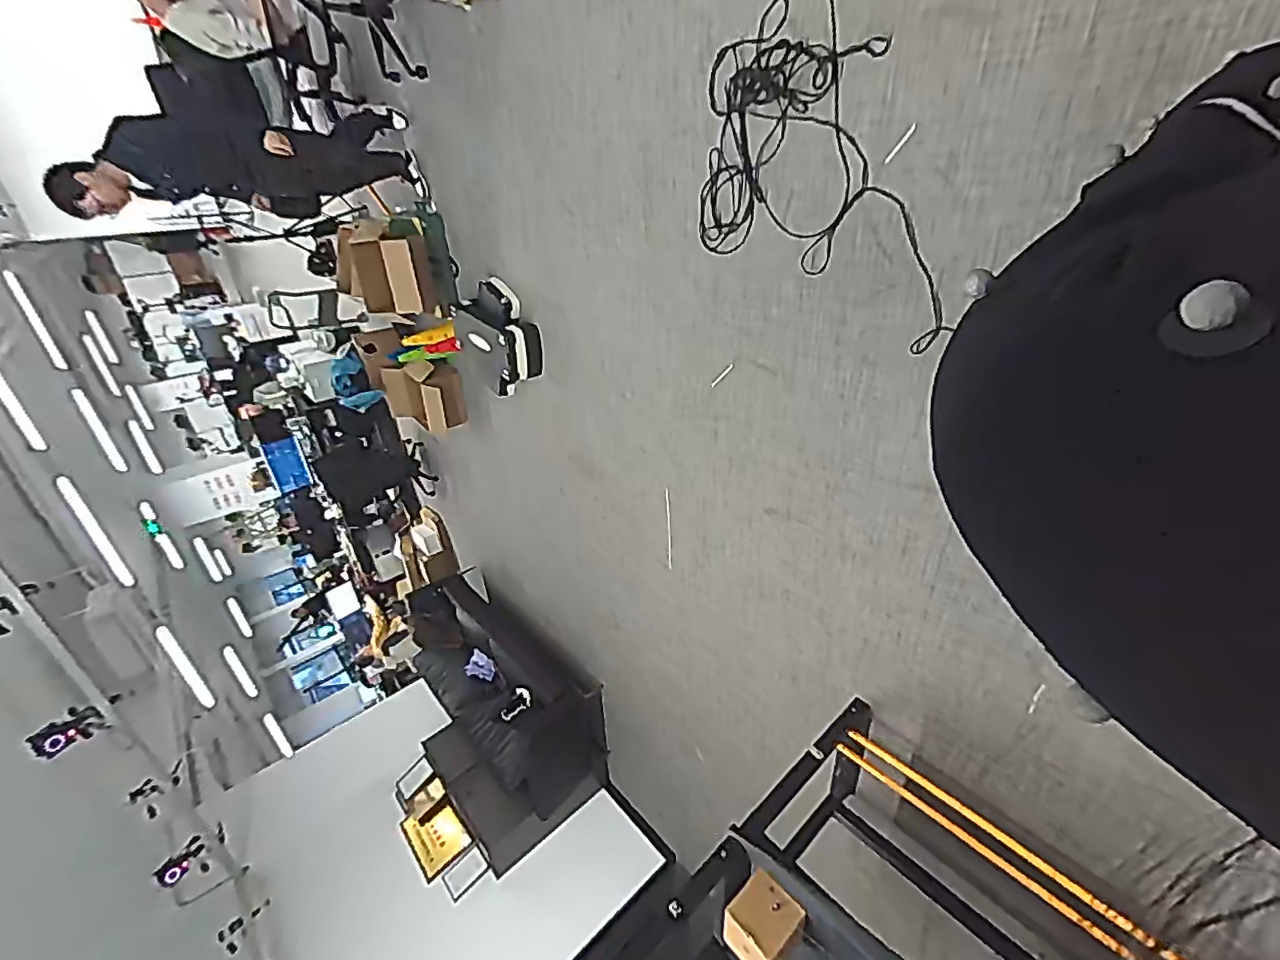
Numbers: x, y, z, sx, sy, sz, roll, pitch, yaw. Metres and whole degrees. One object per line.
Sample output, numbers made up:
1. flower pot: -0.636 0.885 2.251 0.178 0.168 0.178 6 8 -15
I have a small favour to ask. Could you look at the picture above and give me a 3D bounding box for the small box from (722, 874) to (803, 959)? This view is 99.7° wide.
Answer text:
1. small box: 0.355 1.308 1.568 0.168 0.176 0.179 26 130 43
